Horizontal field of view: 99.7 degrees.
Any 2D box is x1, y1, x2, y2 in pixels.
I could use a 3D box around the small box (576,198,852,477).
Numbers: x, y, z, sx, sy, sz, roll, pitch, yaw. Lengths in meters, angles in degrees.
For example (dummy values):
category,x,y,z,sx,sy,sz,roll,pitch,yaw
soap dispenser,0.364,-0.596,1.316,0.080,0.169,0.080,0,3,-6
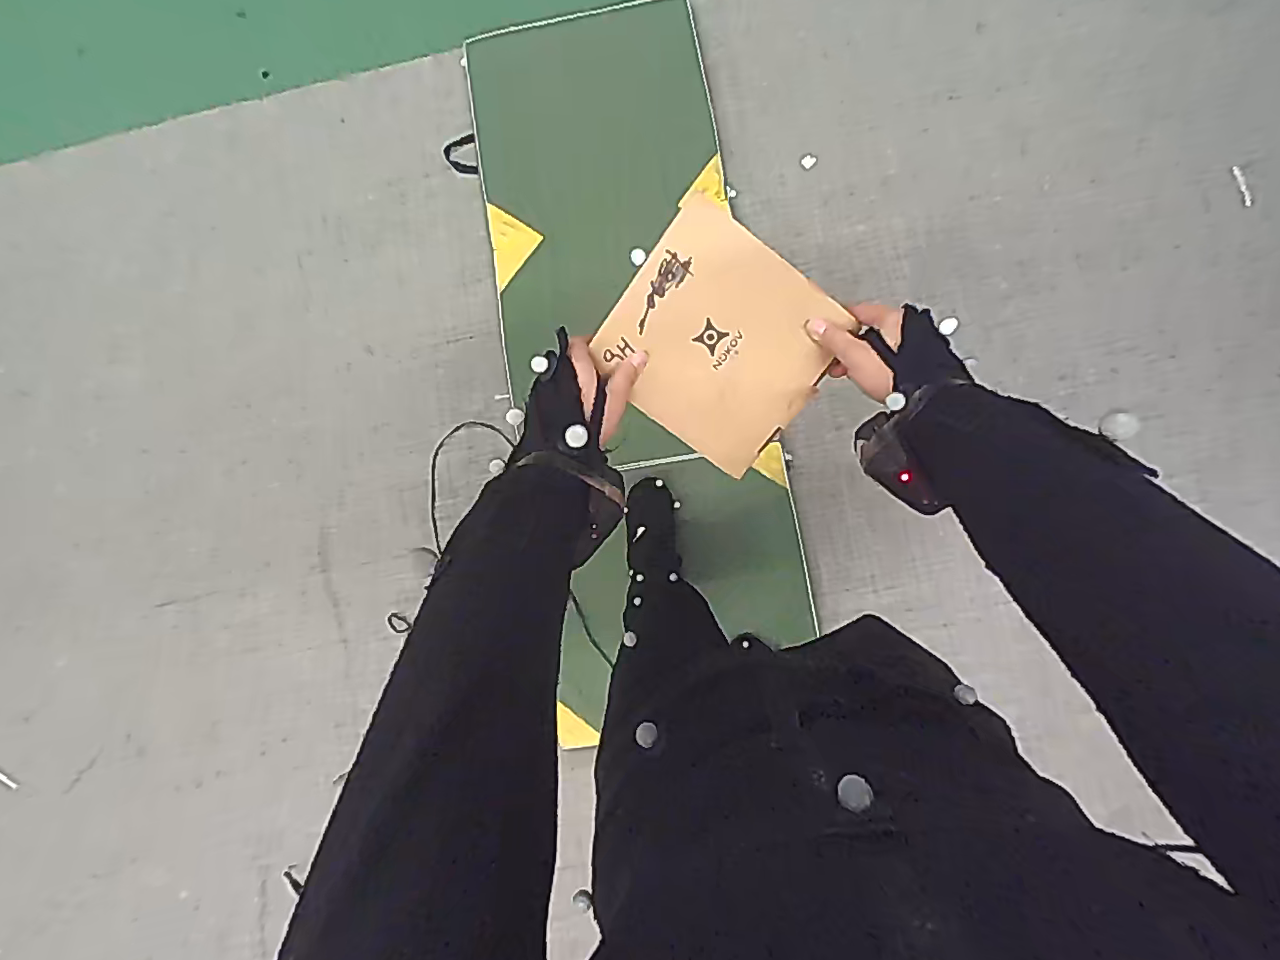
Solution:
category,x,y,z,sx,sy,sz,roll,pitch,yaw
small box,0.063,-0.134,0.529,0.179,0.176,0.168,36,102,-8
